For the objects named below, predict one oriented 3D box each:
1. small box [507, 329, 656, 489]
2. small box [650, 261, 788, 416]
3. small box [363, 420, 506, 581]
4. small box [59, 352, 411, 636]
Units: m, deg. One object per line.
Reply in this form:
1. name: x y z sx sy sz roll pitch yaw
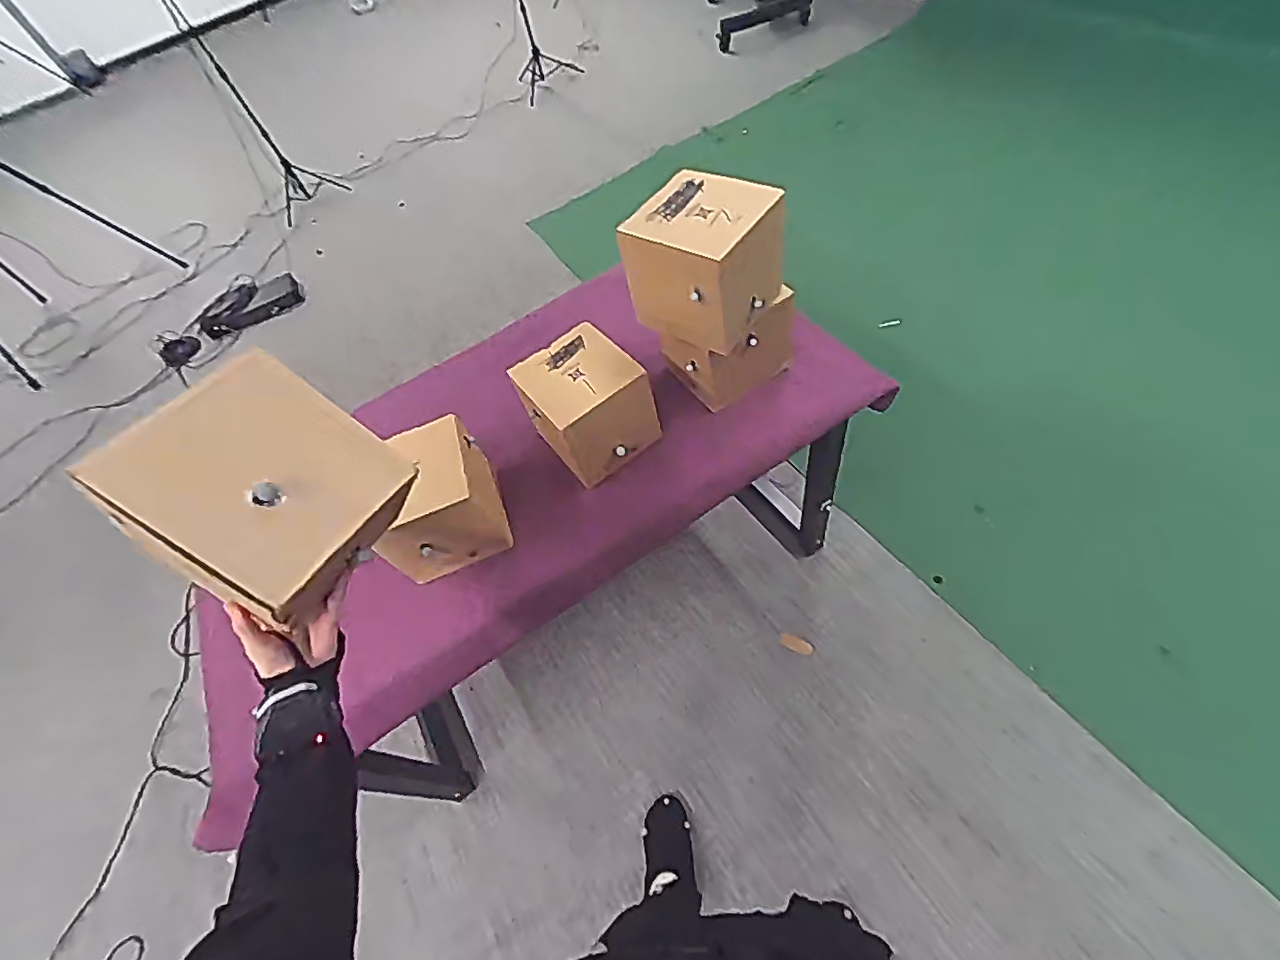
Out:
1. small box: -0.094 -0.117 0.920 0.168 0.176 0.179 -36 57 -13
2. small box: 0.143 -0.245 0.958 0.179 0.176 0.168 -31 55 -10
3. small box: -0.330 0.042 0.863 0.168 0.176 0.179 -22 54 -3
4. small box: -0.343 0.018 0.501 0.179 0.168 0.176 40 54 -11
